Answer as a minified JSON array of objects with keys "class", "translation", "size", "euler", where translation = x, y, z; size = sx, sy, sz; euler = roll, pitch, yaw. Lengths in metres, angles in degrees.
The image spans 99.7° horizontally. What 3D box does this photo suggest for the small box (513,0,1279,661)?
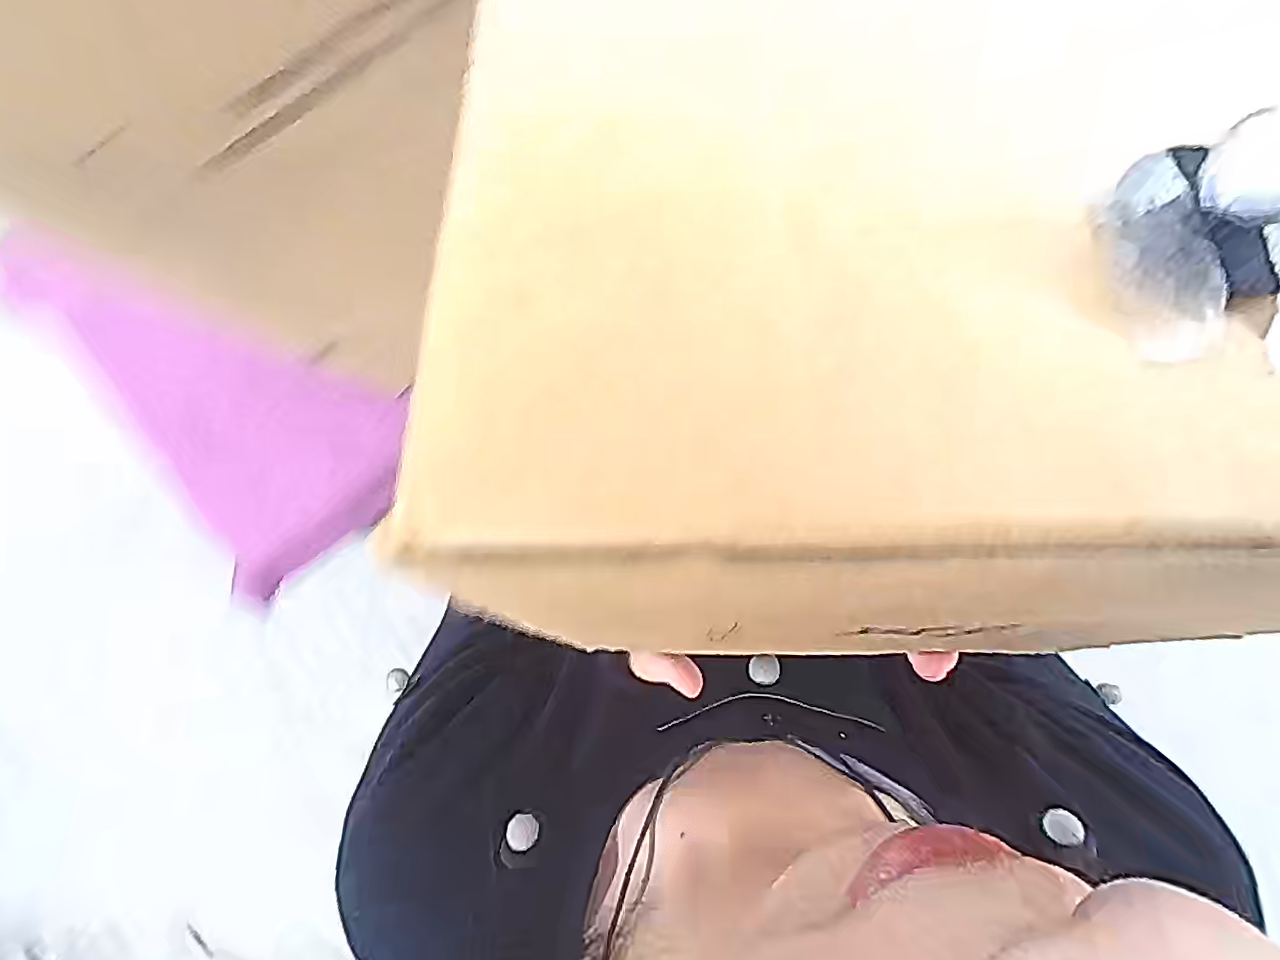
[{"class":"small box","translation":[0.078,-0.045,0.142],"size":[0.179,0.168,0.176],"euler":[1,69,2]}]
